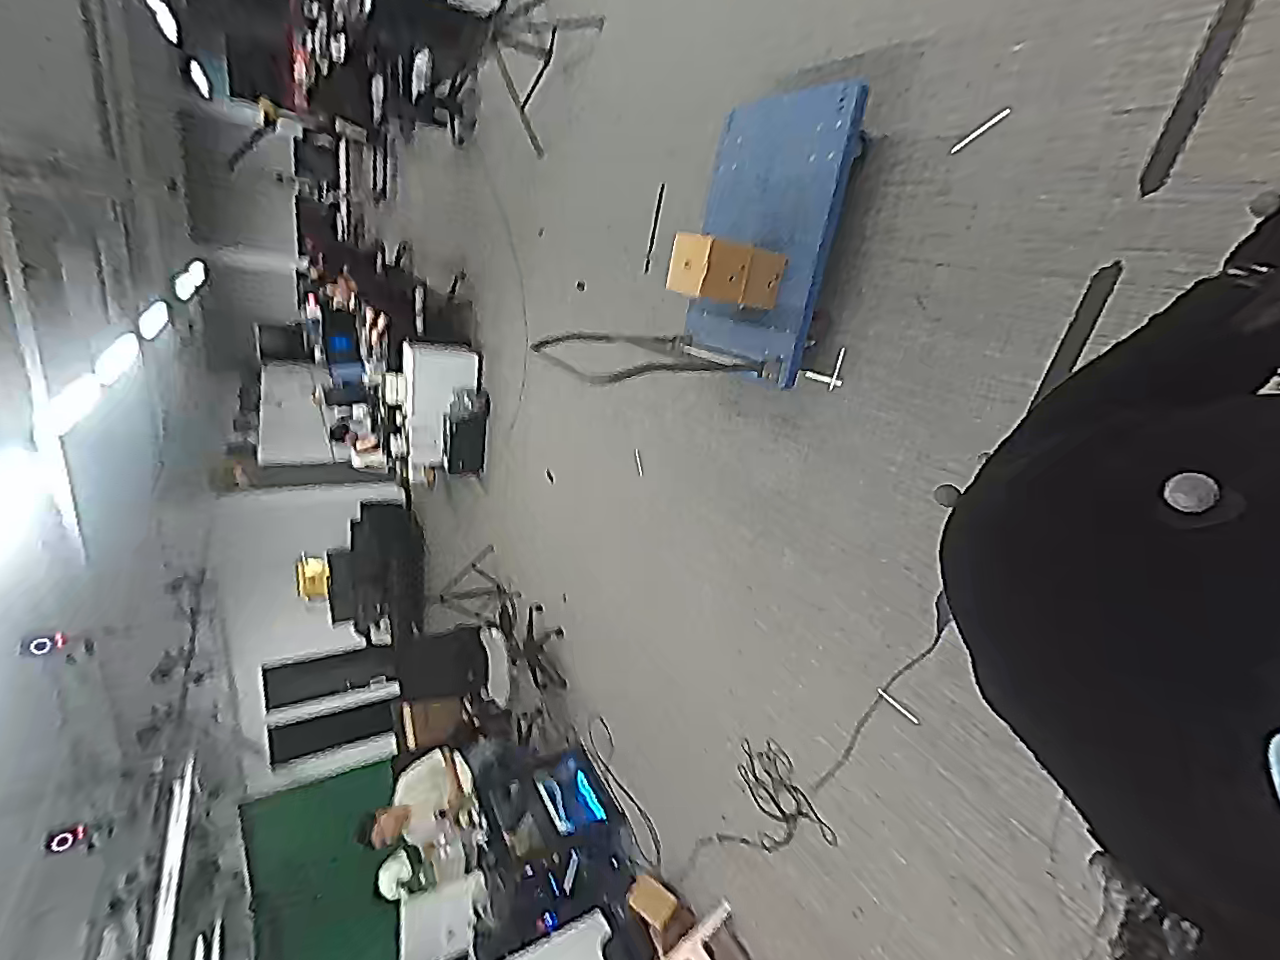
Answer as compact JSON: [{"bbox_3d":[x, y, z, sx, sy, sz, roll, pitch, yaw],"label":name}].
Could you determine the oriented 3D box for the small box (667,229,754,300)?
[{"bbox_3d":[0.211,-0.651,1.638,0.179,0.176,0.168,37,124,47],"label":"small box"}]
